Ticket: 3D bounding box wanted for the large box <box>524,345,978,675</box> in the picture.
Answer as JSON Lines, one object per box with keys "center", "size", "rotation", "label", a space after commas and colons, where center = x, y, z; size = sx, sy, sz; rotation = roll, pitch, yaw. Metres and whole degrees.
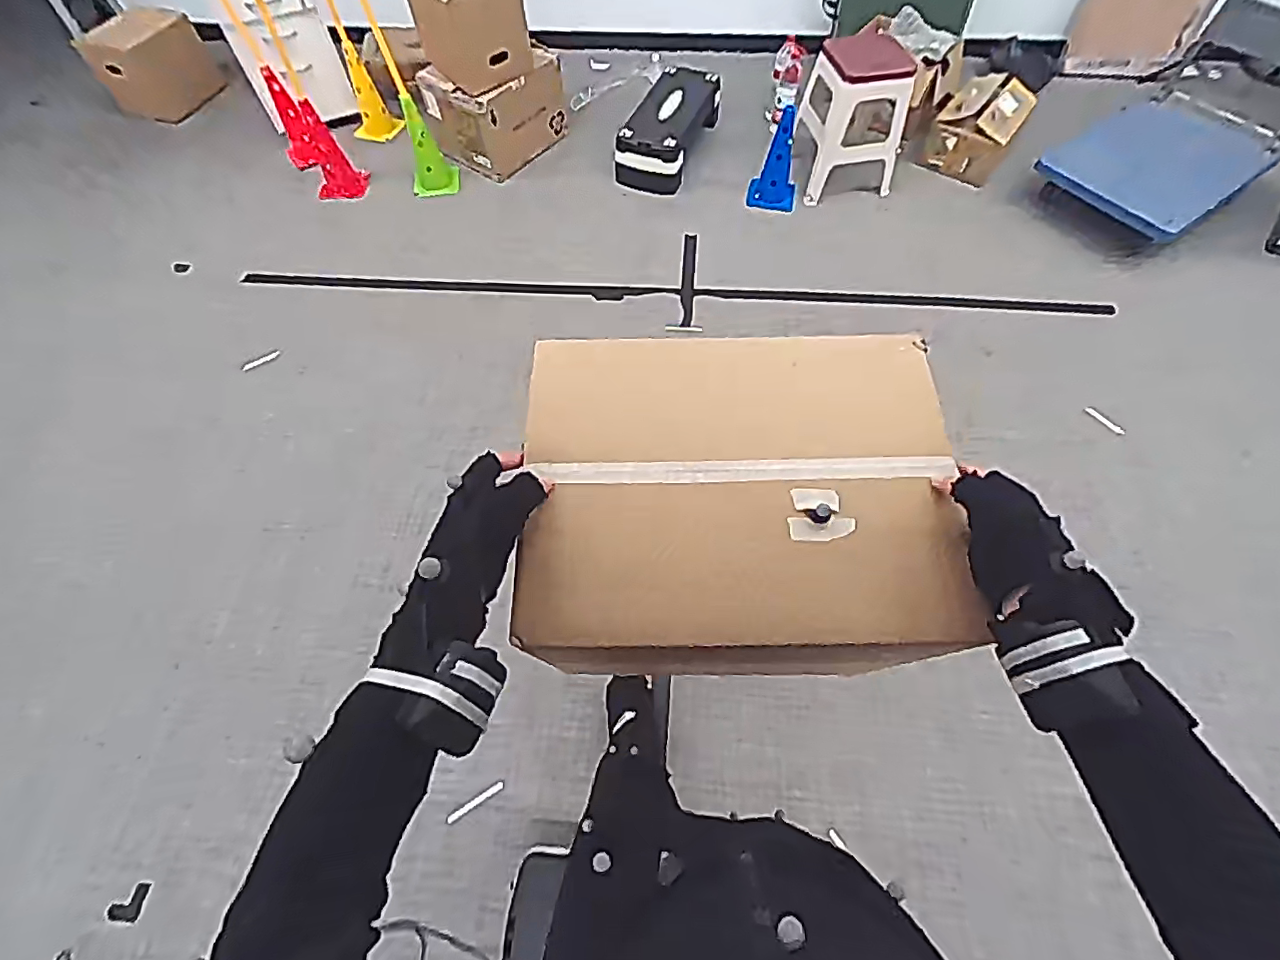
{"center": [0.092, 0.058, 0.660], "size": [0.408, 0.320, 0.320], "rotation": [-1, 66, 0], "label": "large box"}
